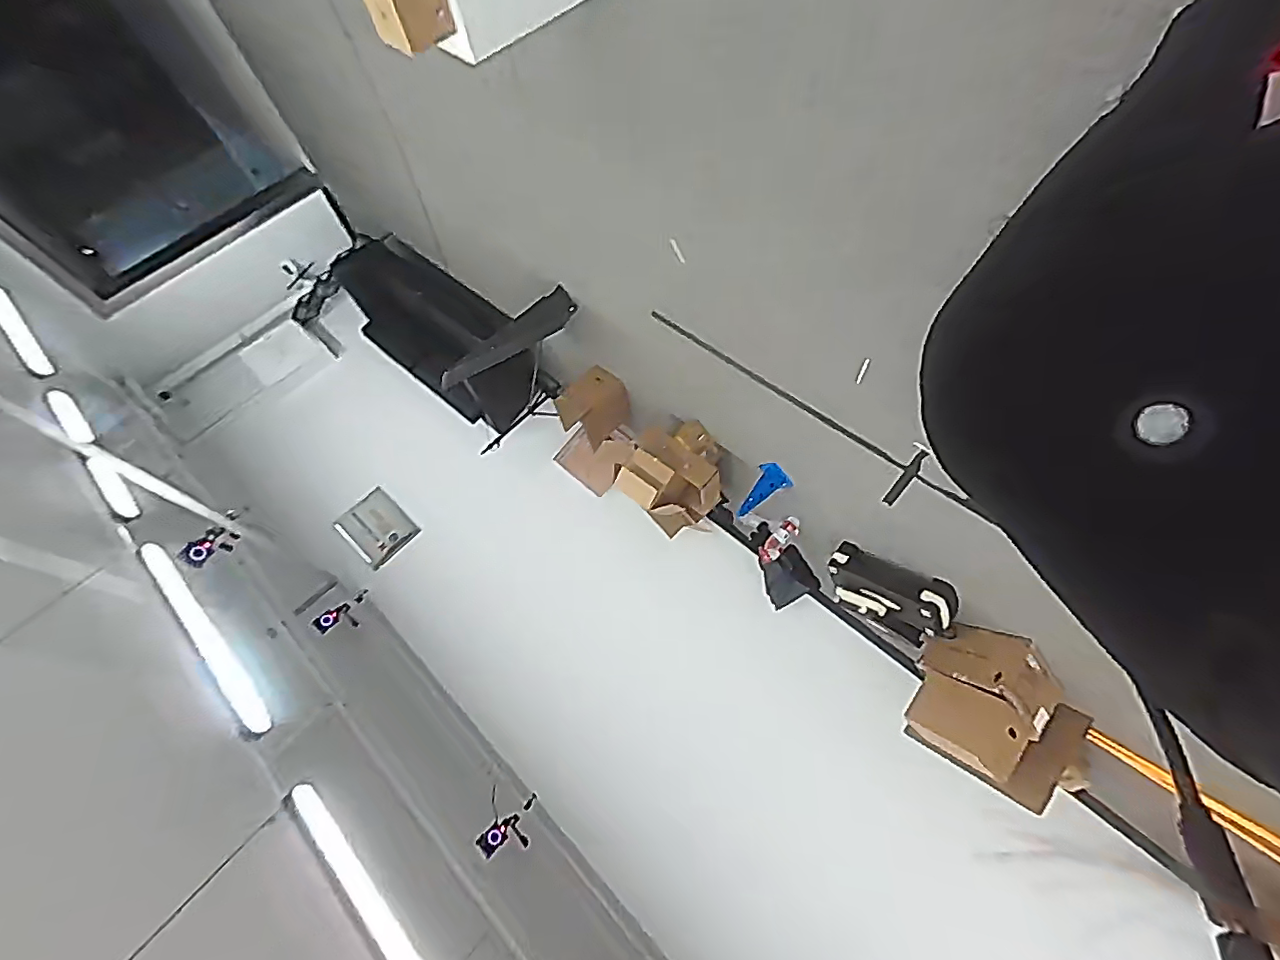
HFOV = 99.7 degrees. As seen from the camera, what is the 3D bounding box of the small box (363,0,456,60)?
[{"bbox_3d":[-0.656,-1.337,1.521,0.179,0.176,0.168,40,163,20],"label":"small box"}]
